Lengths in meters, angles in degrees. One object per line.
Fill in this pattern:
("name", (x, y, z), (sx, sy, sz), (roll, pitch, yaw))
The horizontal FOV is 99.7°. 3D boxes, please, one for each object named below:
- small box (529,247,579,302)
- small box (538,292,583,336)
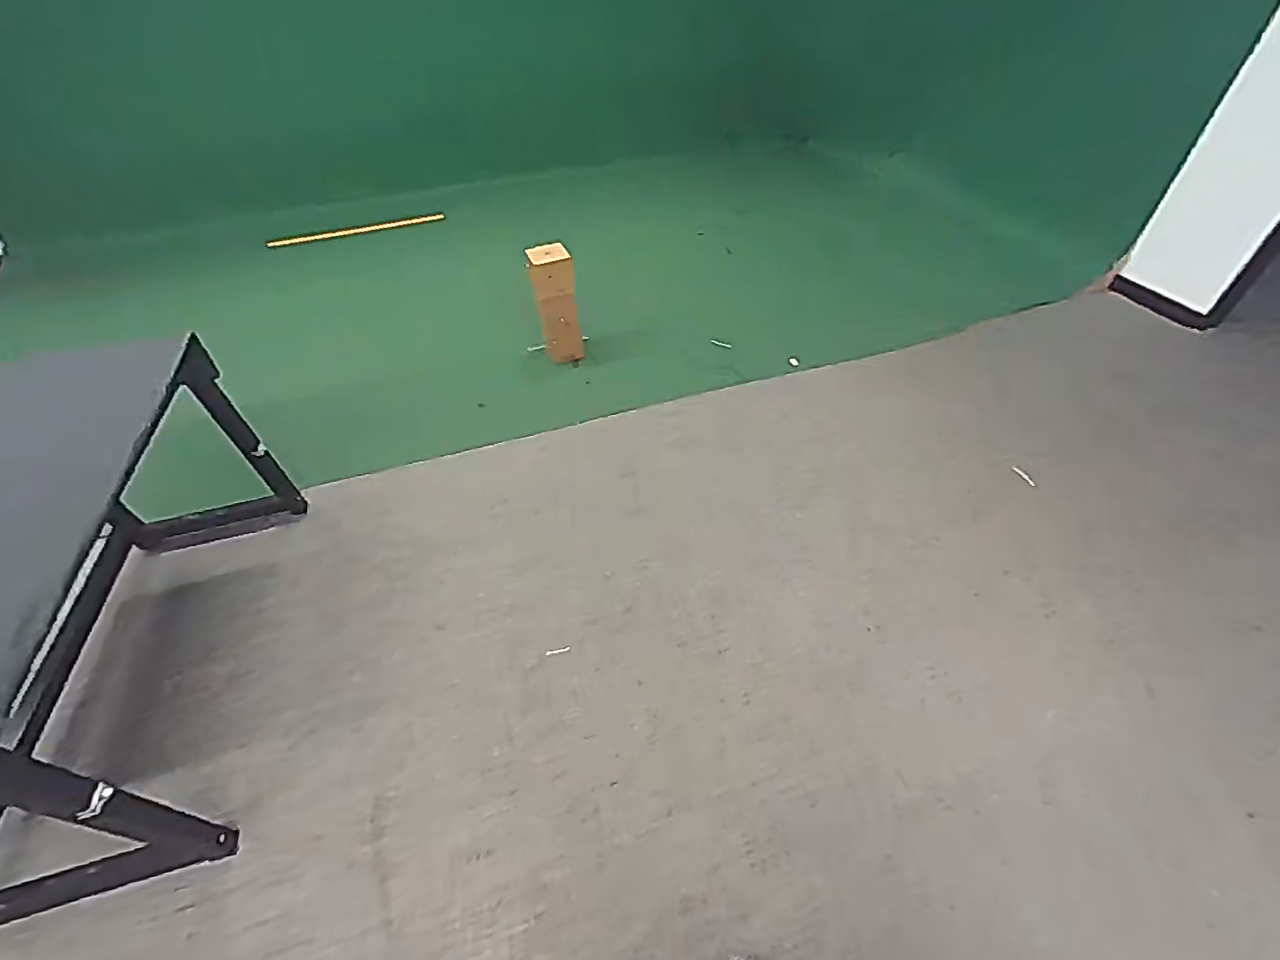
("small box", (-0.382, -0.917, 2.428), (0.168, 0.176, 0.179), (-18, 46, -13))
("small box", (-0.375, -0.806, 2.546), (0.168, 0.176, 0.179), (-17, 47, -11))
